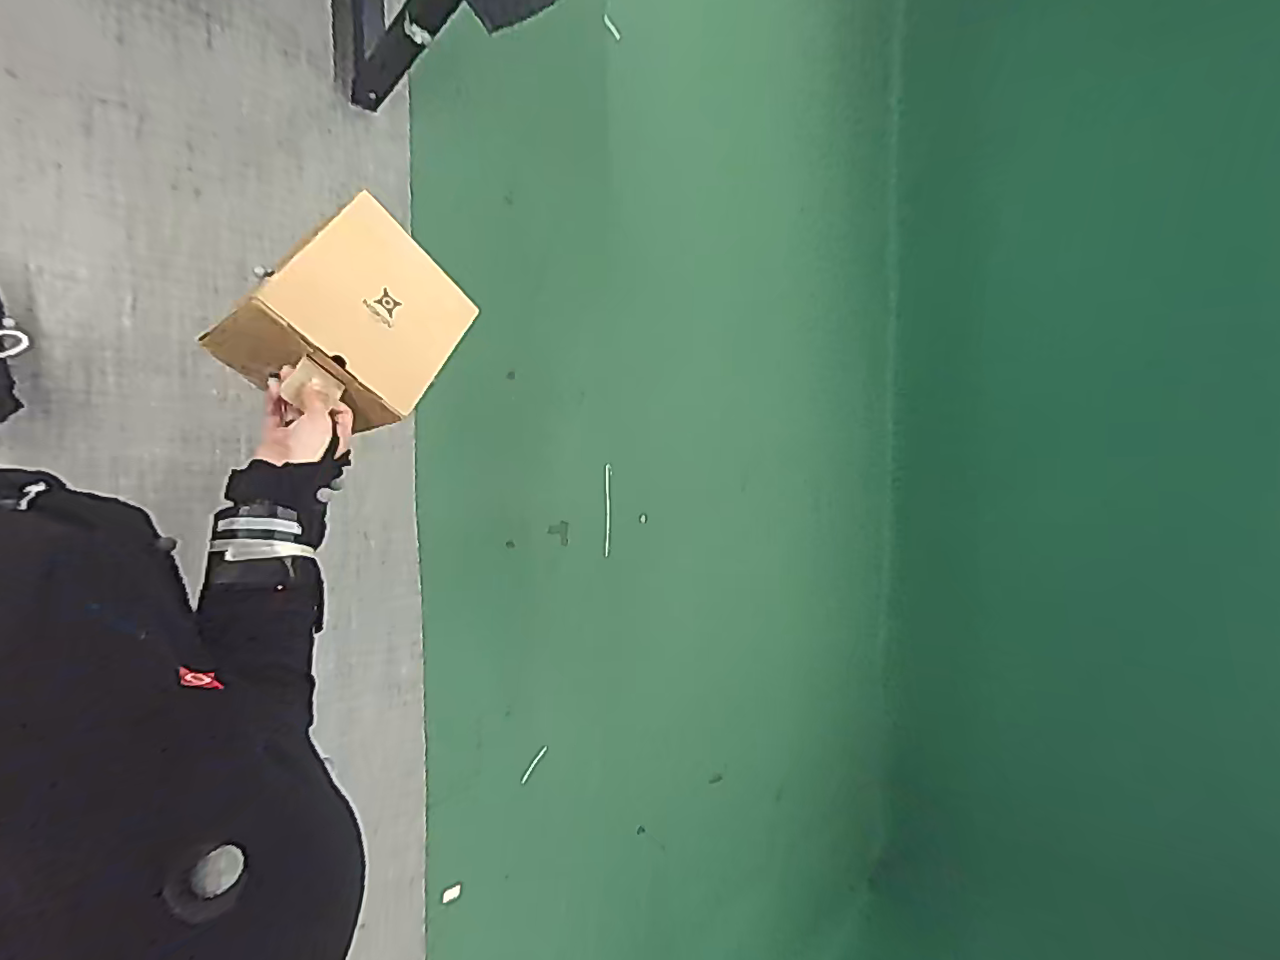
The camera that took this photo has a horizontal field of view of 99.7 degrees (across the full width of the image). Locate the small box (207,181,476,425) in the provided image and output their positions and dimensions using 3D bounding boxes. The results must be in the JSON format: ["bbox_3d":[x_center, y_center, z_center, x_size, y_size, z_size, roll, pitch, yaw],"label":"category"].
[{"bbox_3d":[-0.326,-0.182,0.598,0.168,0.176,0.179,47,52,-39],"label":"small box"}]
